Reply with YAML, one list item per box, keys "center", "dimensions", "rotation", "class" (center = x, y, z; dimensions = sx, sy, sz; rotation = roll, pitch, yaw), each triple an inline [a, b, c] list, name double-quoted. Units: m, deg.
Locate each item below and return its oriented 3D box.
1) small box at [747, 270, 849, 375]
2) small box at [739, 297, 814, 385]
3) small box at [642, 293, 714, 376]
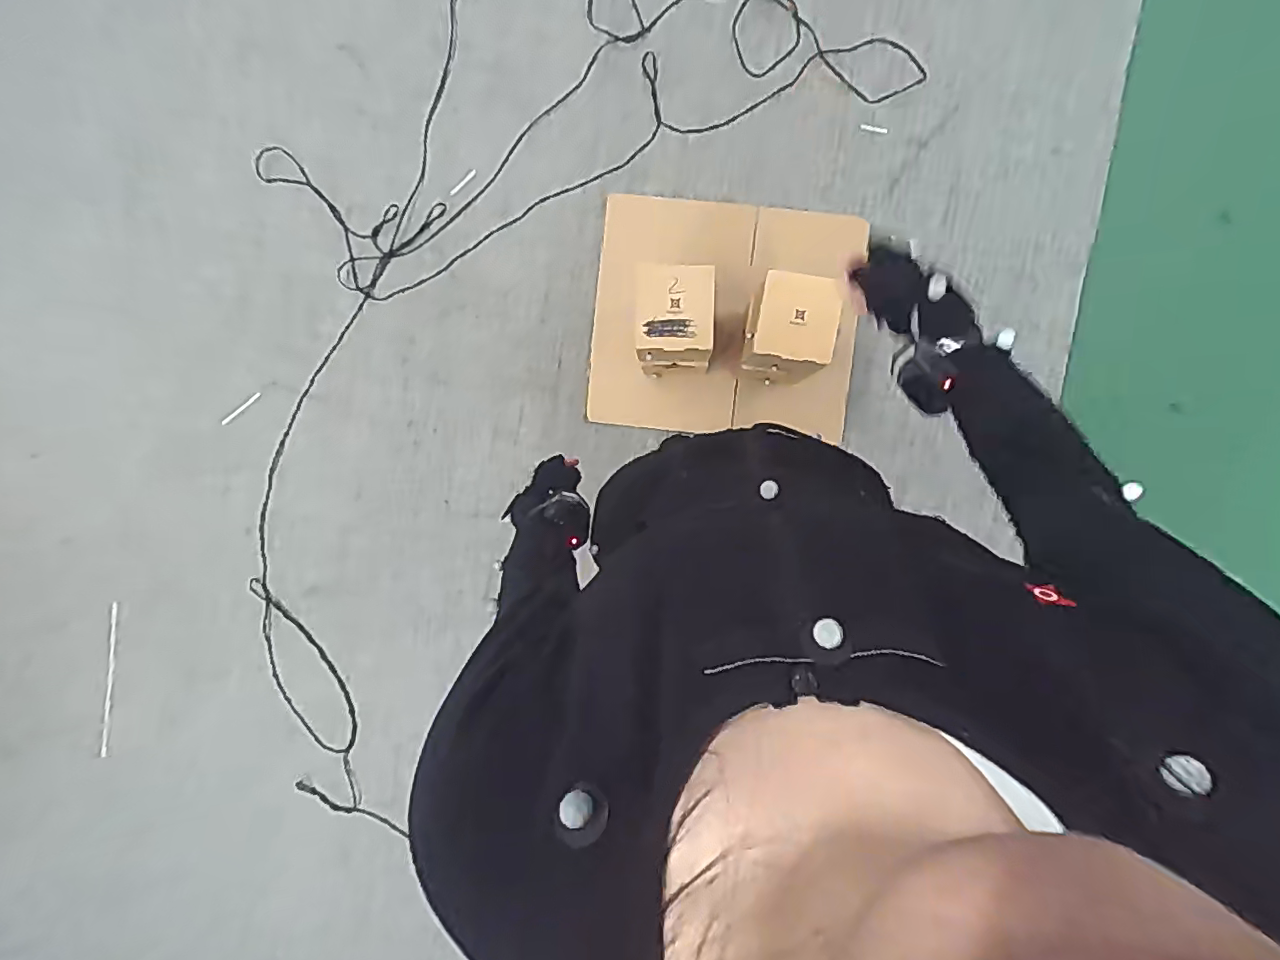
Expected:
- center: [0.338, -0.339, 1.191]
  dimensions: [0.168, 0.176, 0.179]
  rotation: [10, 95, 3]
  class: "small box"
- center: [0.345, -0.342, 1.354]
  dimensions: [0.168, 0.176, 0.179]
  rotation: [7, 94, 4]
  class: "small box"
- center: [0.095, -0.360, 1.363]
  dimensions: [0.168, 0.176, 0.179]
  rotation: [2, 93, 3]
  class: "small box"
